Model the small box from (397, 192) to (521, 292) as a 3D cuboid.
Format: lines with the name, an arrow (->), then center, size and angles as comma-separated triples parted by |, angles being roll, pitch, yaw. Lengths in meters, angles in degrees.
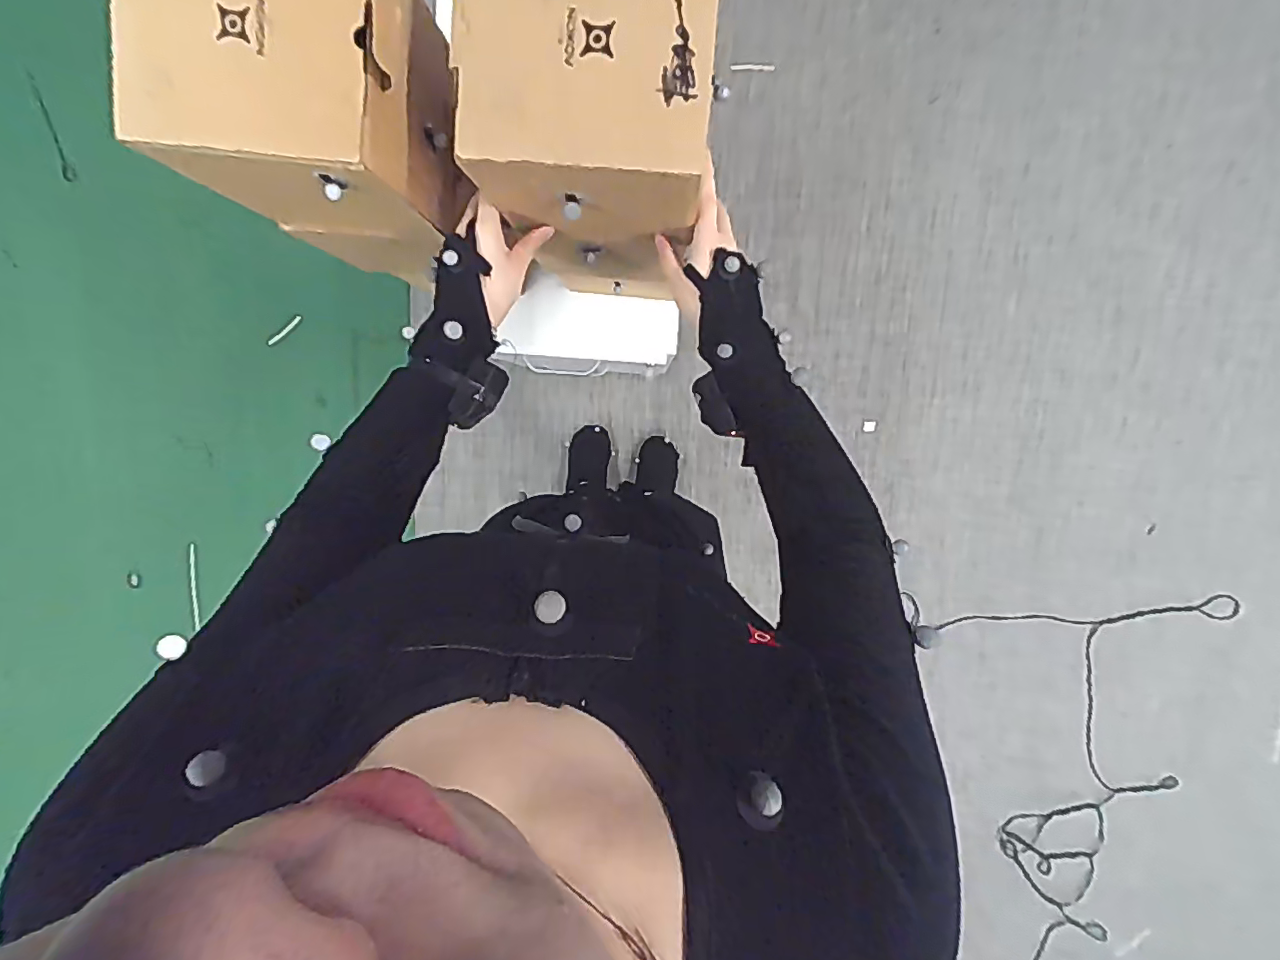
small box -> -0.264, -0.373, 0.766 | 0.168, 0.176, 0.179 | 4, 98, -2

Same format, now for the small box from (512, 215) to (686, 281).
small box -> -0.030, -0.329, 0.604 | 0.179, 0.176, 0.168 | 6, 98, 1

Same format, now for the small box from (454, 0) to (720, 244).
small box -> -0.032, -0.305, 0.442 | 0.179, 0.176, 0.168 | 5, 98, 2

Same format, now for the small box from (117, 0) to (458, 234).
small box -> -0.267, -0.318, 0.445 | 0.179, 0.176, 0.168 | 5, 97, -1

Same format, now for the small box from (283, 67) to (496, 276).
small box -> -0.265, -0.335, 0.607 | 0.179, 0.176, 0.168 | 3, 97, 0
